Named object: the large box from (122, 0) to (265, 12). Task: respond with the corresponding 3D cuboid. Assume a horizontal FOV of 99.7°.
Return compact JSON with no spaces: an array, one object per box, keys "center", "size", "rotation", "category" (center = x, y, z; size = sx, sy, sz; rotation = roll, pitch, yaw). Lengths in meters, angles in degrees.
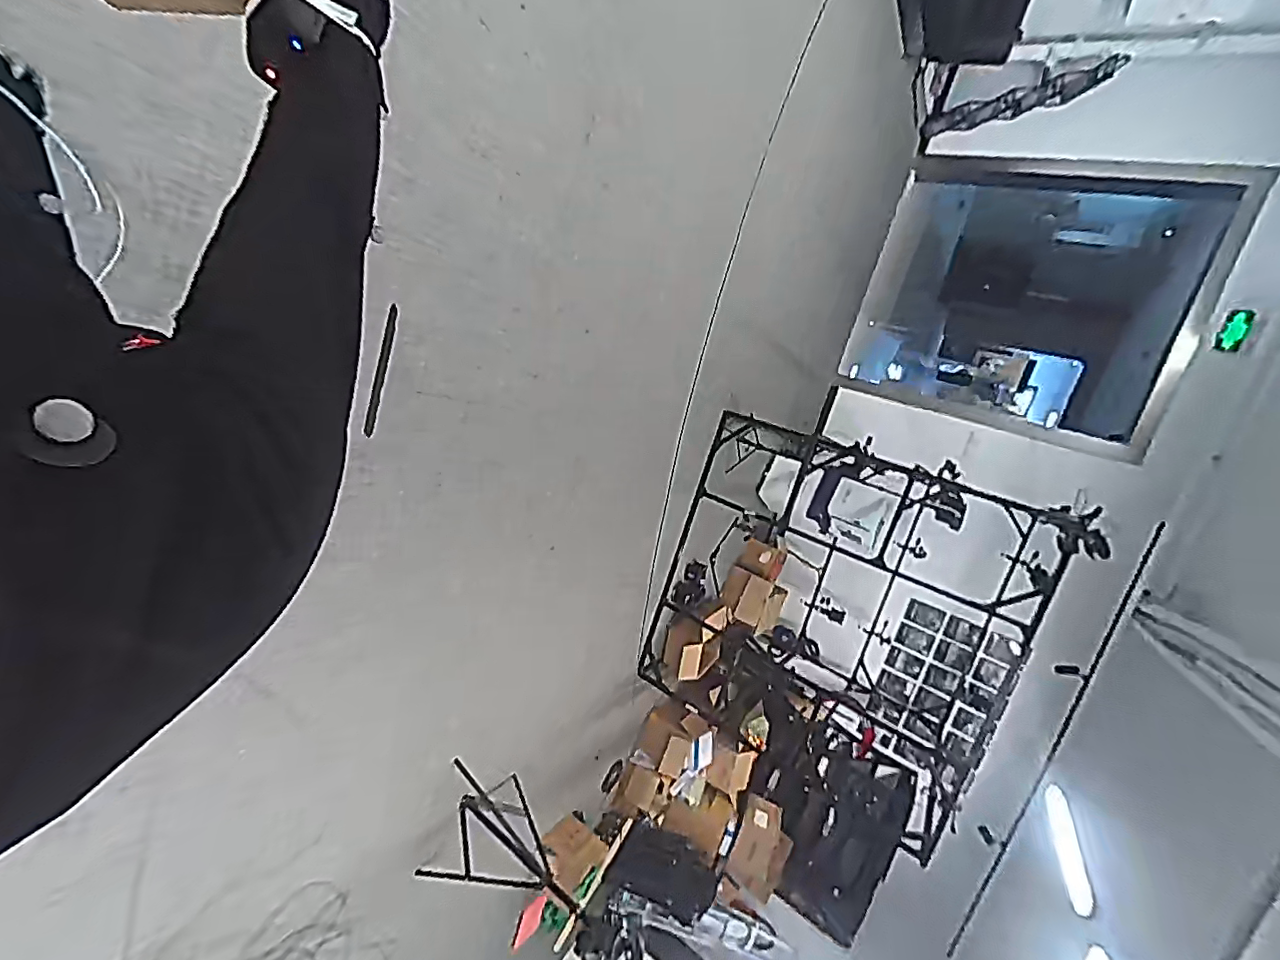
[{"center":[-0.462,-0.600,0.318],"size":[0.320,0.320,0.408],"rotation":[-65,155,6],"category":"large box"}]
